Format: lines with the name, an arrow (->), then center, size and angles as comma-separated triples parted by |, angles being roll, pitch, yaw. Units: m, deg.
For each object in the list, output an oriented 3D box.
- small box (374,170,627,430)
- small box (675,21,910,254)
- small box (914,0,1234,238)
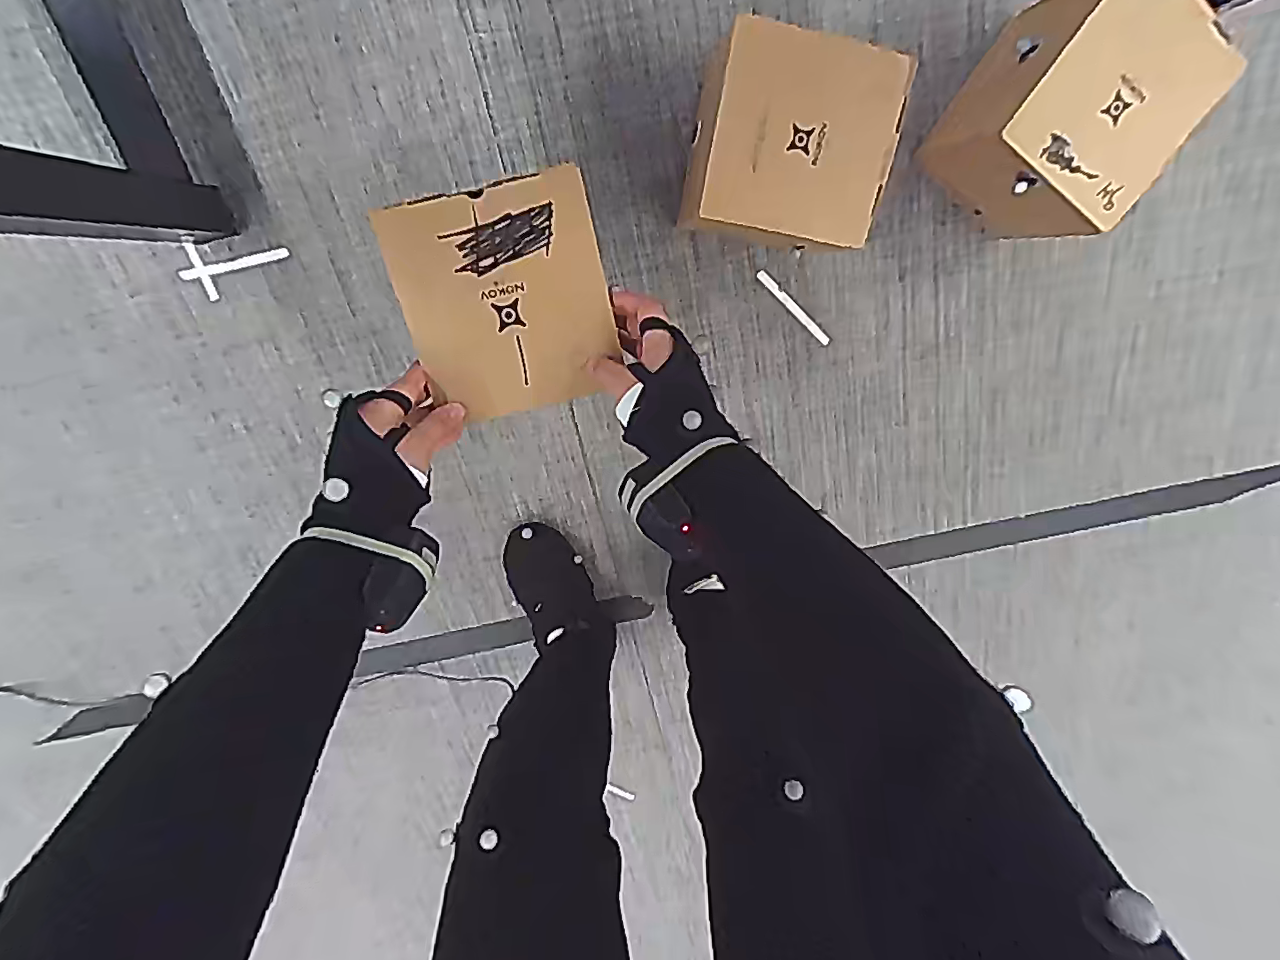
small box -> -0.115, -0.163, 0.514 | 0.168, 0.176, 0.179 | -14, 108, -1
small box -> 0.145, -0.346, 0.585 | 0.179, 0.176, 0.168 | 7, 110, -6
small box -> 0.445, -0.390, 0.588 | 0.168, 0.176, 0.179 | 29, 107, -14
